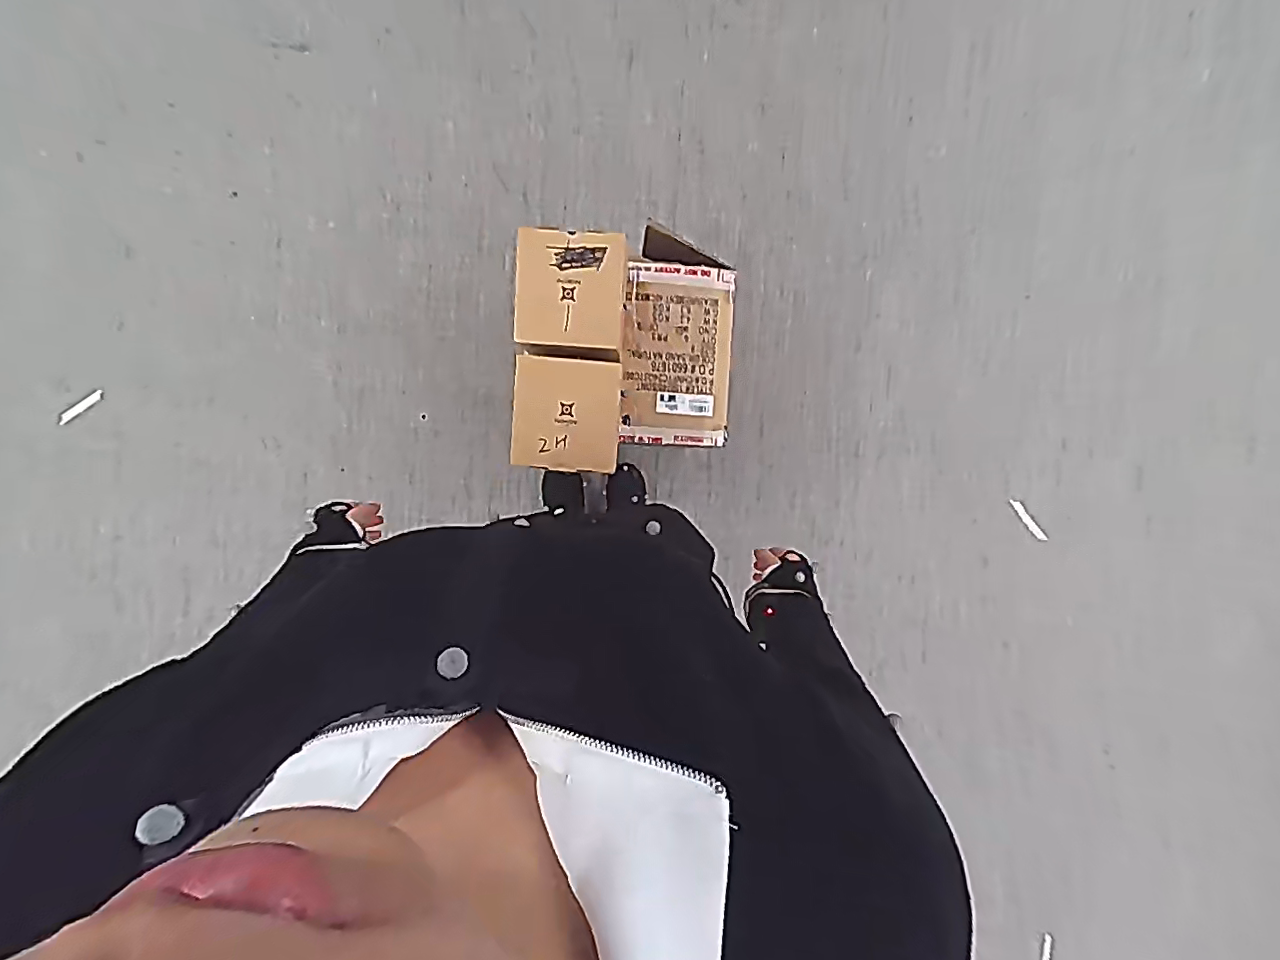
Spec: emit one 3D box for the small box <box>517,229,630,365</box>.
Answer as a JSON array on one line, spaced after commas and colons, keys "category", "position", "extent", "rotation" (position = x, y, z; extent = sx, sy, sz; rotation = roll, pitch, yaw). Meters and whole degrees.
[{"category": "small box", "position": [-0.104, -0.297, 0.908], "extent": [0.168, 0.176, 0.179], "rotation": [4, 95, -1]}]
